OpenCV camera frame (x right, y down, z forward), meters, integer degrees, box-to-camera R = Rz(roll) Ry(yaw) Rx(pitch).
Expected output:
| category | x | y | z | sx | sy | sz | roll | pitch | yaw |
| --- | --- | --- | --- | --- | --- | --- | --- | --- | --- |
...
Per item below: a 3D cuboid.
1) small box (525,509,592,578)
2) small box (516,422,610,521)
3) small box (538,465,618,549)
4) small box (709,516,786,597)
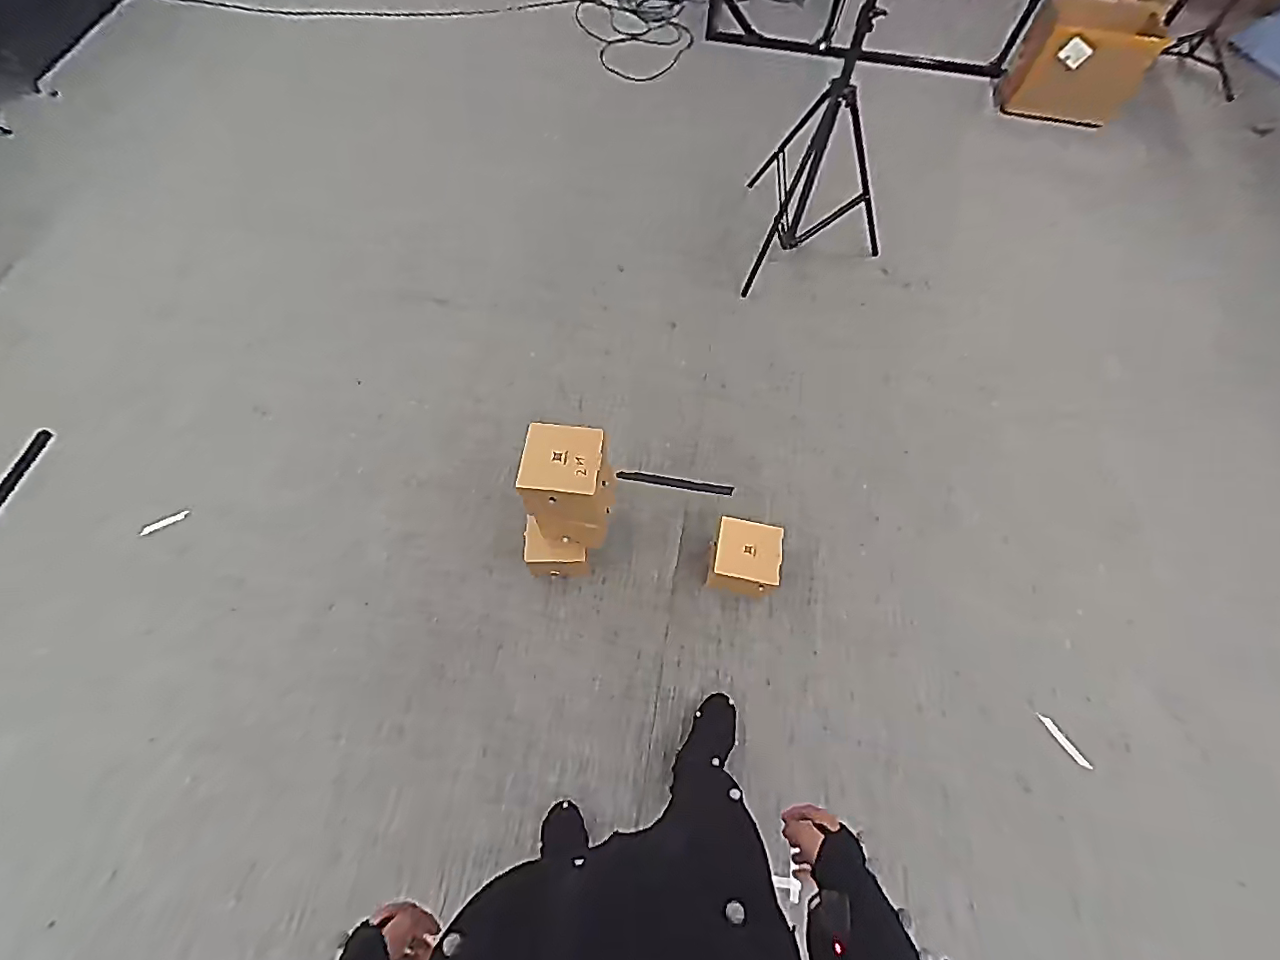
| category | x | y | z | sx | sy | sz | roll | pitch | yaw |
| --- | --- | --- | --- | --- | --- | --- | --- | --- | --- |
| small box | -0.222 | 0.169 | 1.529 | 0.168 | 0.176 | 0.179 | 0 | 66 | -1 |
| small box | -0.170 | -0.015 | 1.255 | 0.179 | 0.176 | 0.168 | 6 | 65 | 3 |
| small box | -0.156 | 0.057 | 1.403 | 0.168 | 0.176 | 0.179 | 13 | 66 | 6 |
| small box | 0.296 | 0.220 | 1.518 | 0.179 | 0.176 | 0.168 | 11 | 66 | 3 |
